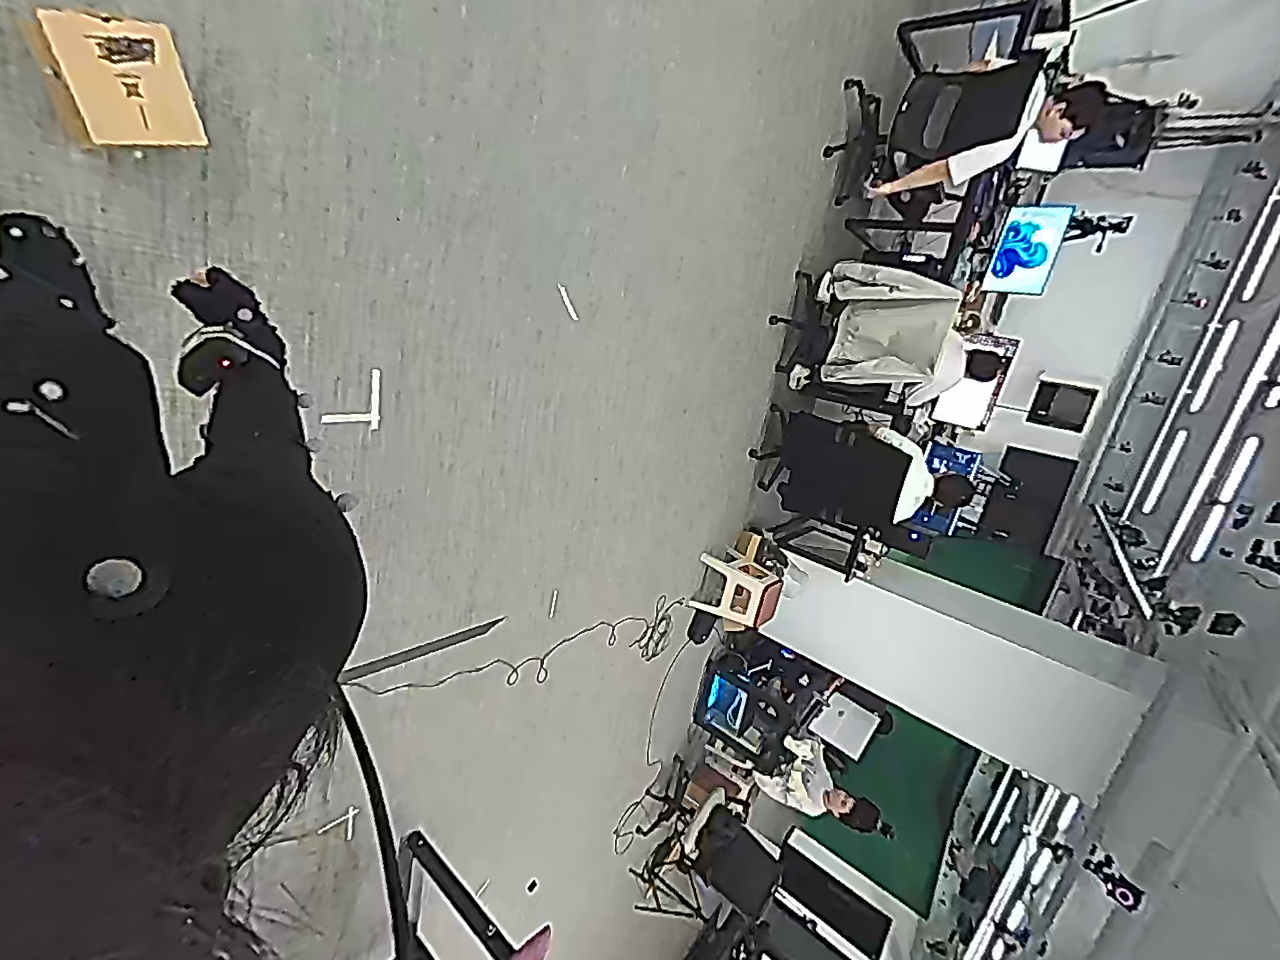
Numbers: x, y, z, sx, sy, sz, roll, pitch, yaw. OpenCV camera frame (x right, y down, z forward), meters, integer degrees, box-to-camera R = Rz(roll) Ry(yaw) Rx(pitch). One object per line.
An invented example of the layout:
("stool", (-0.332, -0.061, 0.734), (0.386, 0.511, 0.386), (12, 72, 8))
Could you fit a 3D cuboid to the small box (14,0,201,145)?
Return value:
("small box", (-0.911, -0.685, 0.929), (0.168, 0.176, 0.179), (-32, 133, -42))
